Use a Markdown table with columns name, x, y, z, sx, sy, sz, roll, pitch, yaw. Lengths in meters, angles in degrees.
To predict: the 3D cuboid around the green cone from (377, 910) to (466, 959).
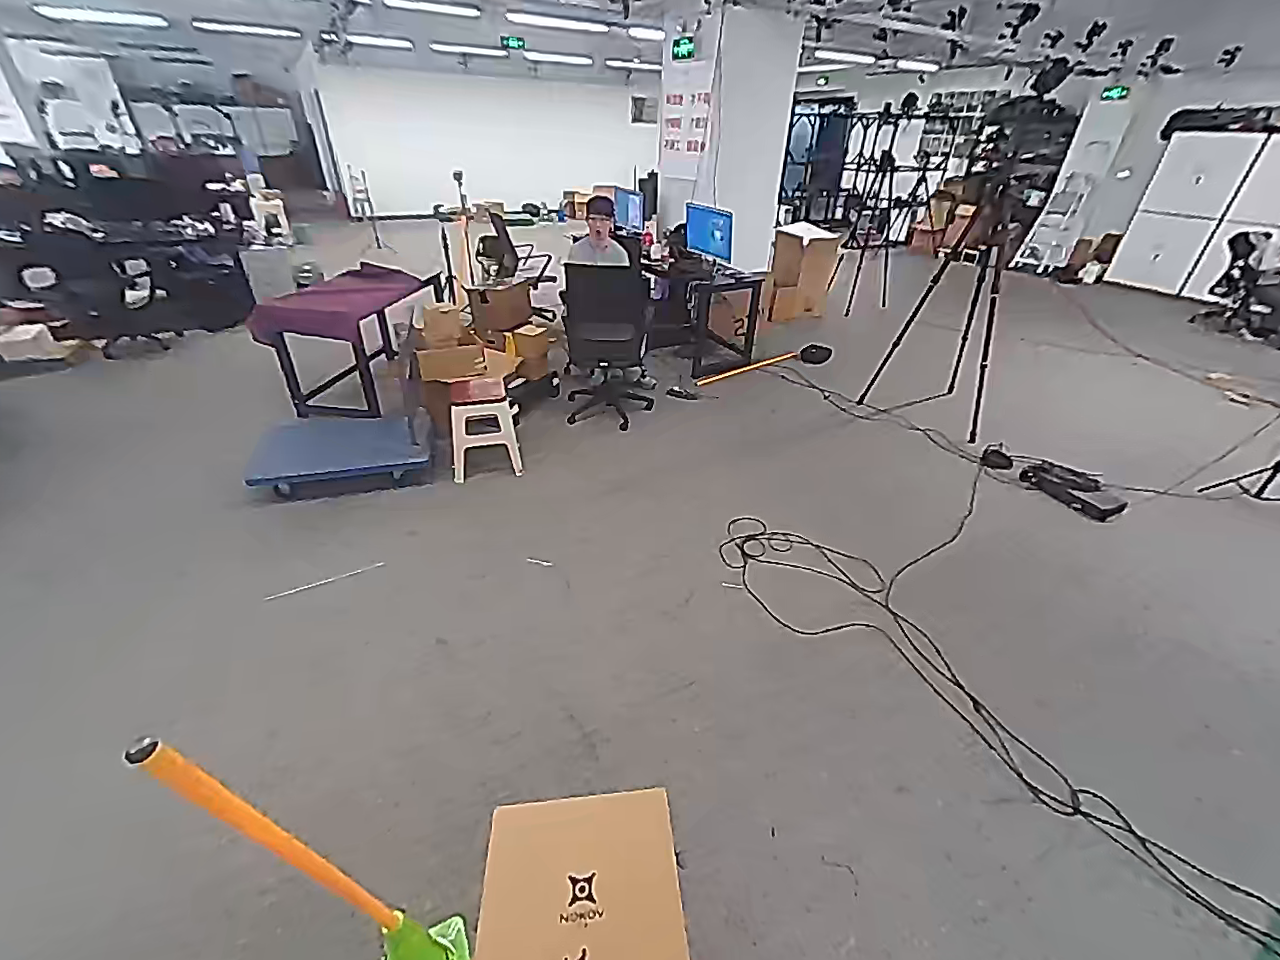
| name | x | y | z | sx | sy | sz | roll | pitch | yaw |
| --- | --- | --- | --- | --- | --- | --- | --- | --- | --- |
| green cone | -0.488 | 1.007 | 1.133 | 0.202 | 0.368 | 0.200 | -14 | 36 | -25 |
